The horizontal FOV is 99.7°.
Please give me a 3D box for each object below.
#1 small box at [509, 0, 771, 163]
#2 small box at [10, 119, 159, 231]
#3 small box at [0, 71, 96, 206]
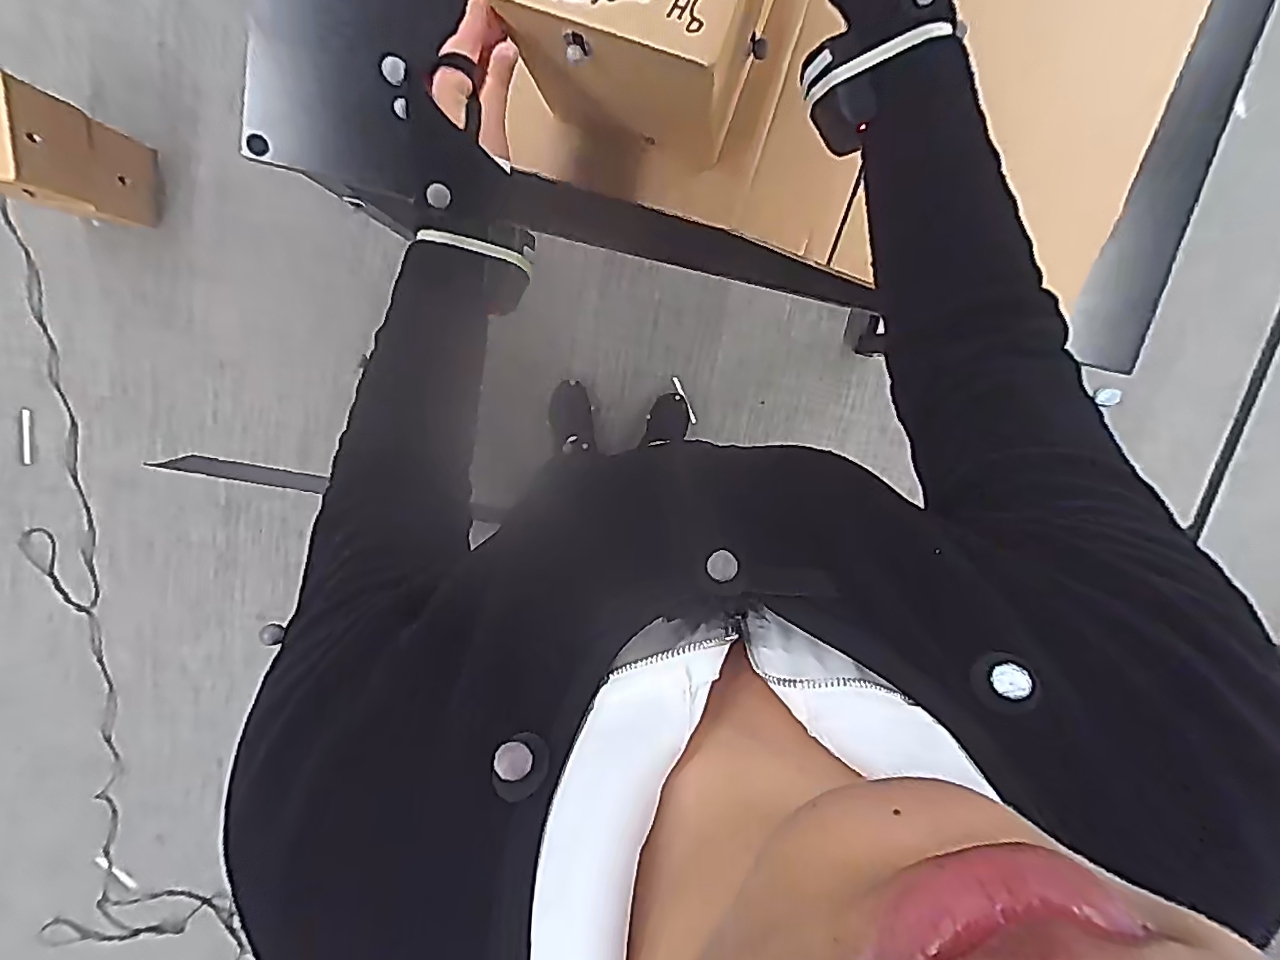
[{"bbox_3d":[0.013,-0.391,0.419,0.168,0.176,0.179,21,100,3],"label":"small box"},{"bbox_3d":[-1.172,-0.650,1.146,0.168,0.176,0.179,6,103,-8],"label":"small box"},{"bbox_3d":[-1.155,-0.620,0.987,0.168,0.176,0.179,3,102,-8],"label":"small box"}]
